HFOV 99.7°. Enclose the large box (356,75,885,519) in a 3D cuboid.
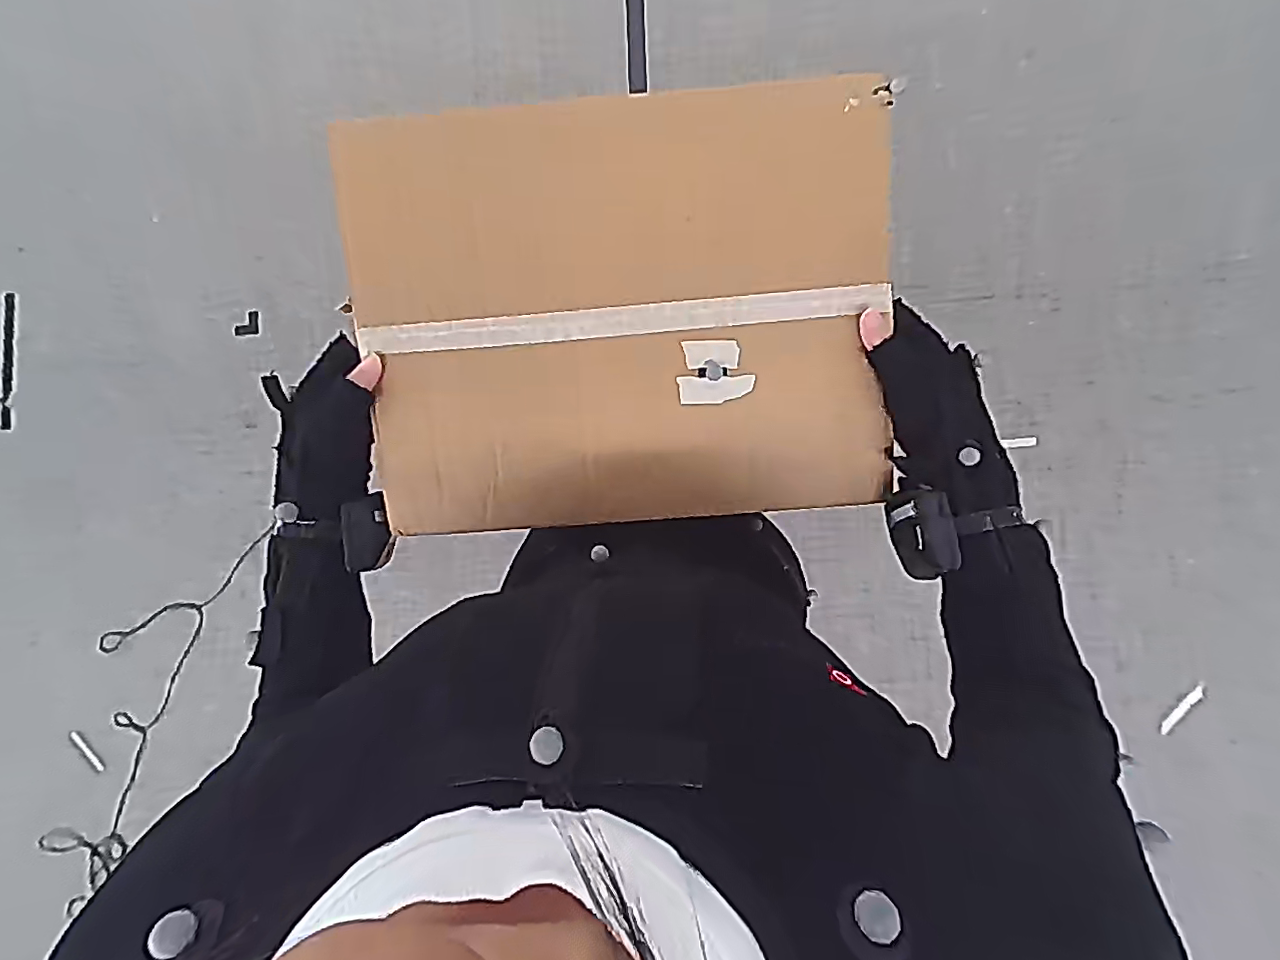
[{"bbox_3d":[-0.008,-0.155,0.575,0.408,0.320,0.320,-4,99,1],"label":"large box"}]
